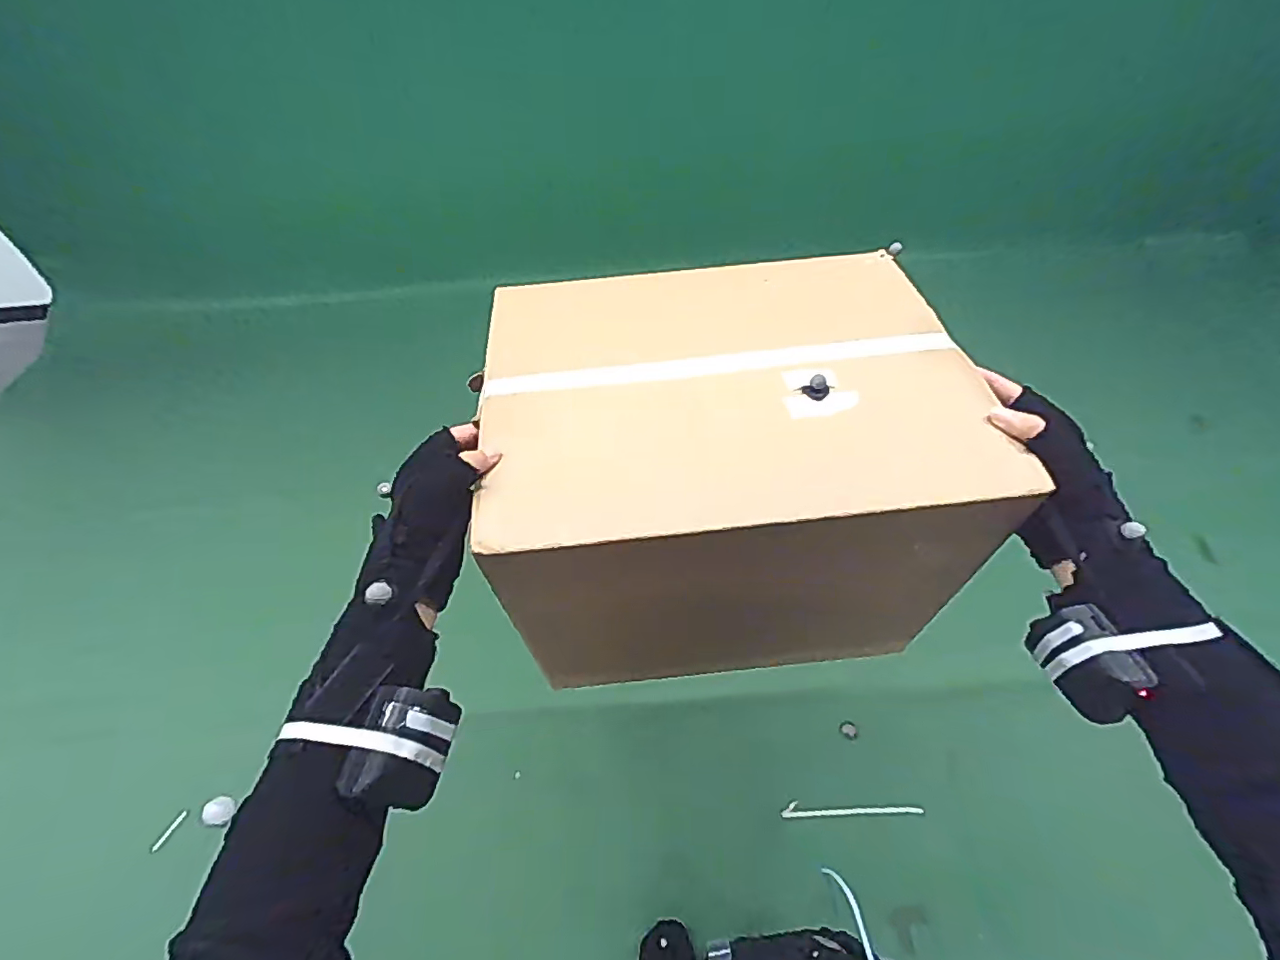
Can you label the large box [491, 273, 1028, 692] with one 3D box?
[{"bbox_3d":[0.077,0.010,0.593,0.408,0.320,0.320,-6,53,-3],"label":"large box"}]
